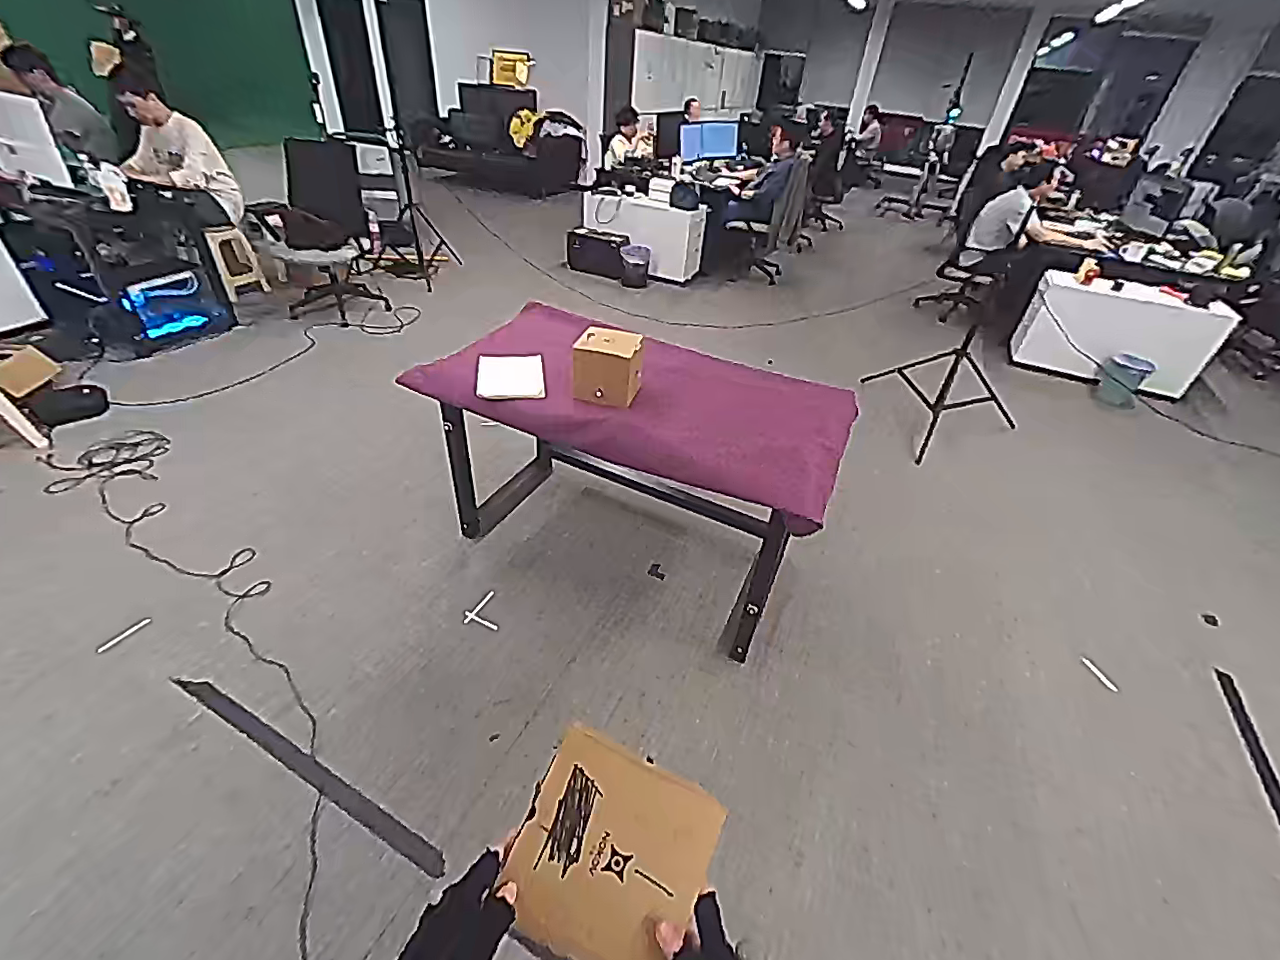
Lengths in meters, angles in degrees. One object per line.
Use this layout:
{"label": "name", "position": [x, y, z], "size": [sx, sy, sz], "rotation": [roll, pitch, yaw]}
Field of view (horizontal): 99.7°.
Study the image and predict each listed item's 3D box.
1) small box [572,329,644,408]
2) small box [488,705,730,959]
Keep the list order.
{"label": "small box", "position": [-0.096, -0.335, 1.634], "size": [0.179, 0.176, 0.168], "rotation": [13, 37, 9]}
{"label": "small box", "position": [-0.030, 0.360, 0.573], "size": [0.179, 0.176, 0.168], "rotation": [25, 68, 6]}
